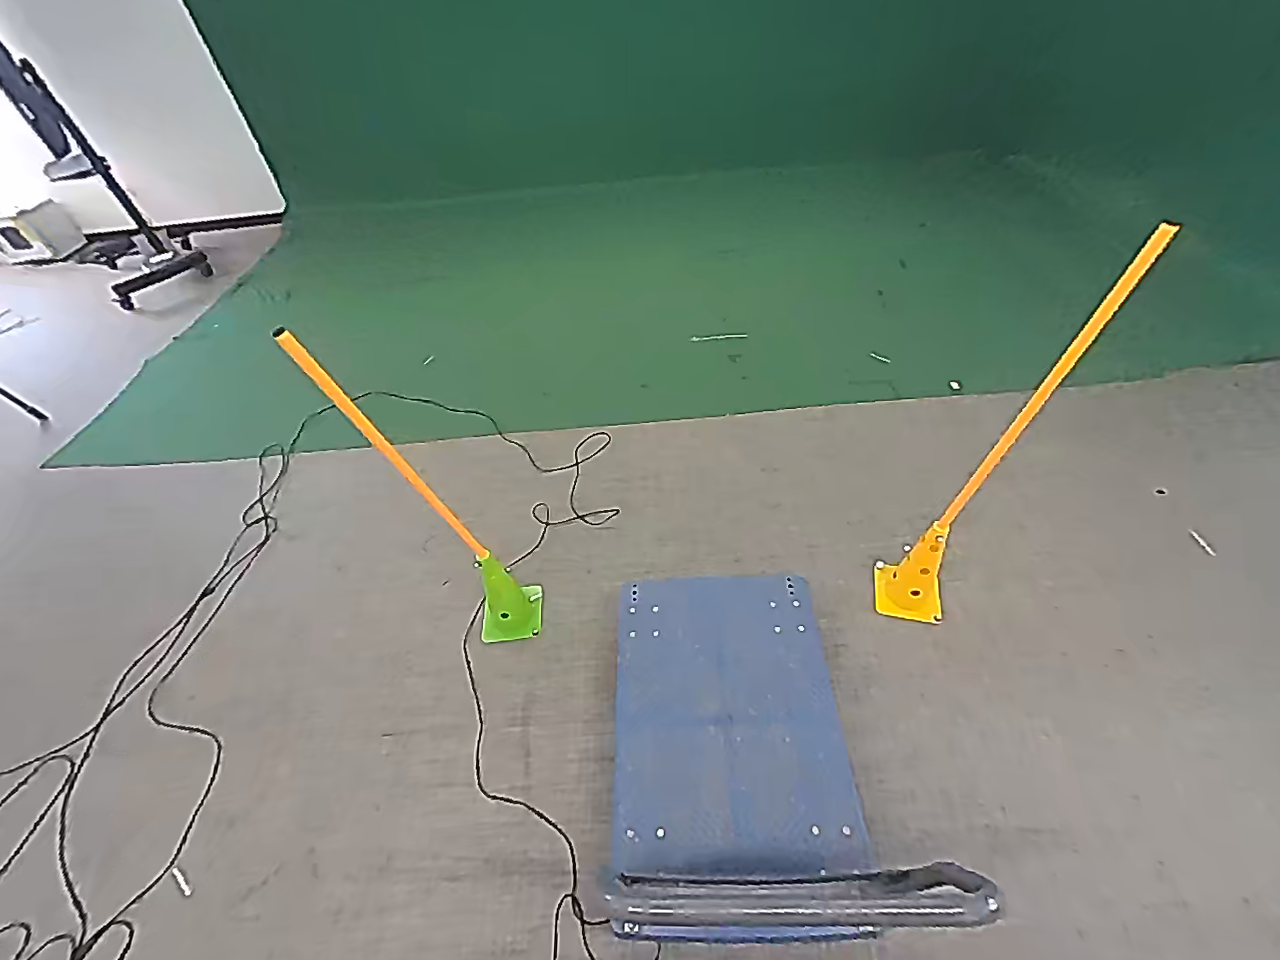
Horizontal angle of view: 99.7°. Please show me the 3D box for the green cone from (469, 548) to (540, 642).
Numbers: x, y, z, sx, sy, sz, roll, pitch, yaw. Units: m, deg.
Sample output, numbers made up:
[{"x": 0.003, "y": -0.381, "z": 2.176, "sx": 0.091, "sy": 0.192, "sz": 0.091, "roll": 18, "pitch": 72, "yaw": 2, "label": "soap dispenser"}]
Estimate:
[{"x": -0.462, "y": 0.335, "z": 1.727, "sx": 0.202, "sy": 0.368, "sz": 0.200, "roll": -9, "pitch": 46, "yaw": 0, "label": "green cone"}]
